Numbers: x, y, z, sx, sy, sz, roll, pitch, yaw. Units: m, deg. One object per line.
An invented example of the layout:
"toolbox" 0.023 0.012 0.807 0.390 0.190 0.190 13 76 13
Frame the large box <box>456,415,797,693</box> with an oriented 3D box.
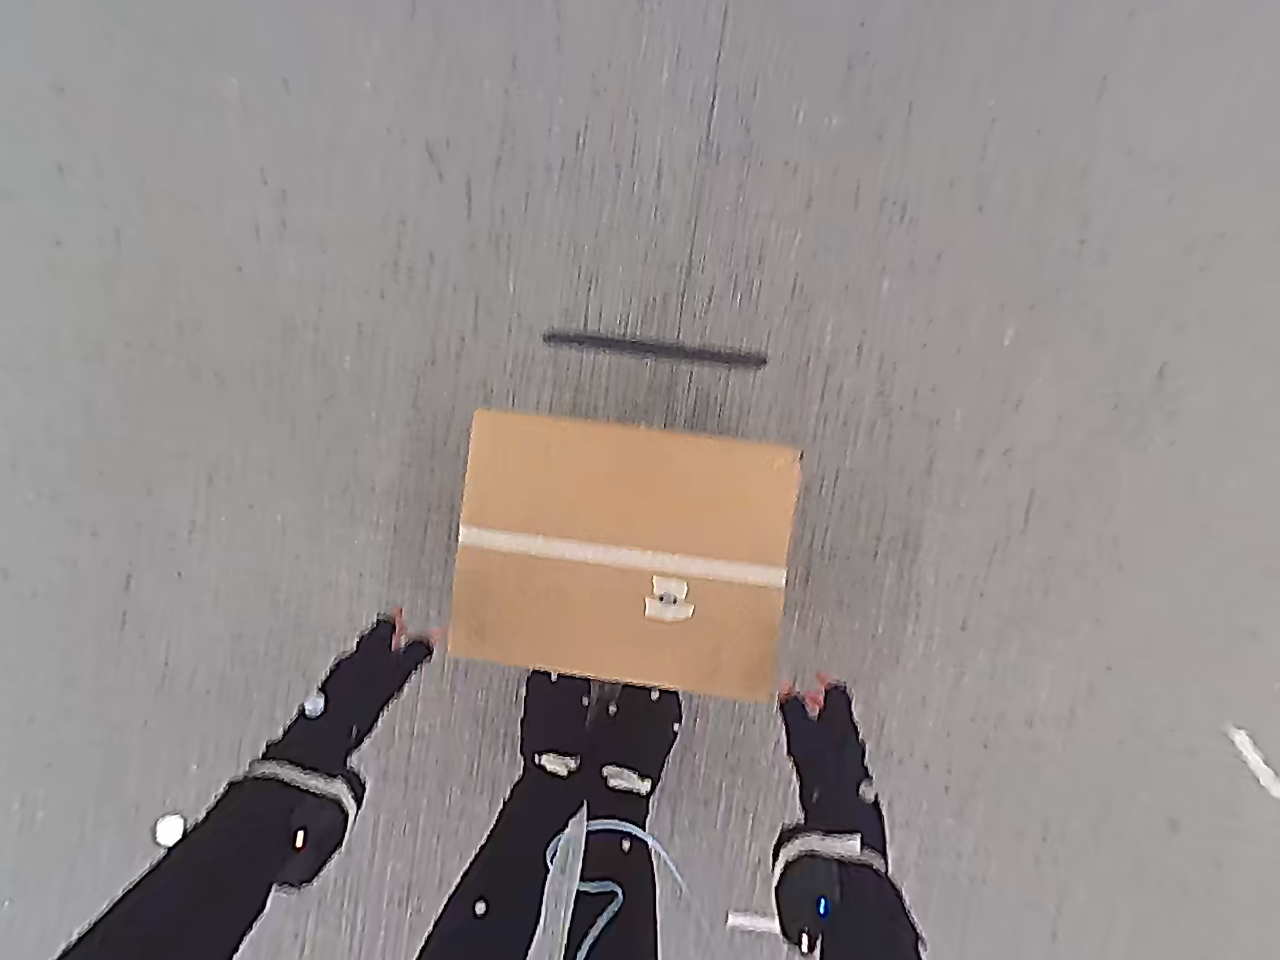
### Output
"large box" -0.017 0.089 0.820 0.408 0.320 0.320 7 93 2
